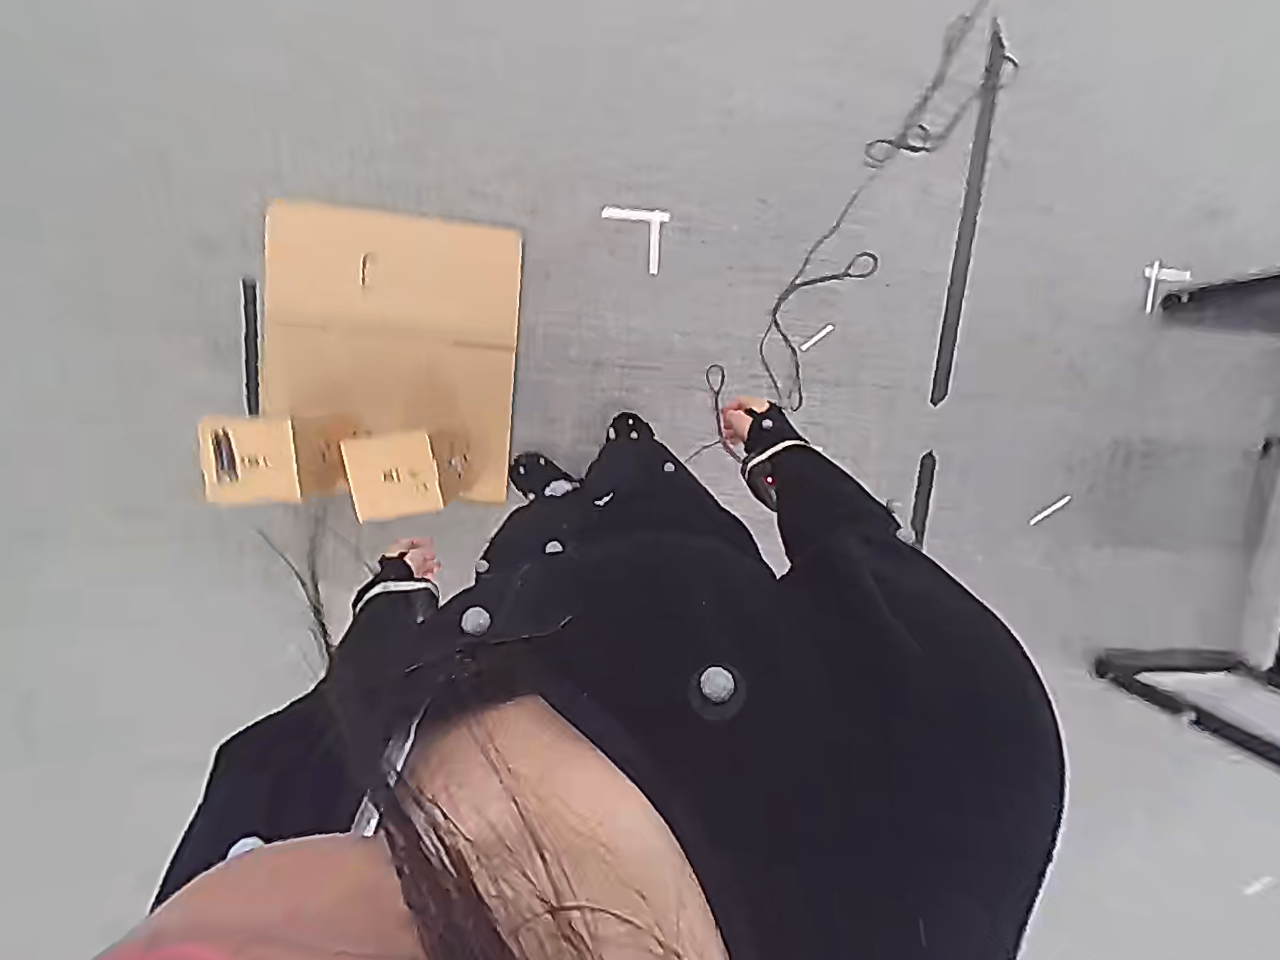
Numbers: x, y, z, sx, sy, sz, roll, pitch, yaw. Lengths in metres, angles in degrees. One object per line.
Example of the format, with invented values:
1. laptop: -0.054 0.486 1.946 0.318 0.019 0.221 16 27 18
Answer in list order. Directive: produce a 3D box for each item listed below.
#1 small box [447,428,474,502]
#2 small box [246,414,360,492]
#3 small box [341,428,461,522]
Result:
1. small box: -0.515 -0.032 1.328 0.179 0.176 0.168 -10 99 -5
2. small box: -0.792 -0.070 1.295 0.179 0.176 0.168 -6 99 -6
3. small box: -0.504 -0.017 1.164 0.179 0.176 0.168 -10 100 -5
